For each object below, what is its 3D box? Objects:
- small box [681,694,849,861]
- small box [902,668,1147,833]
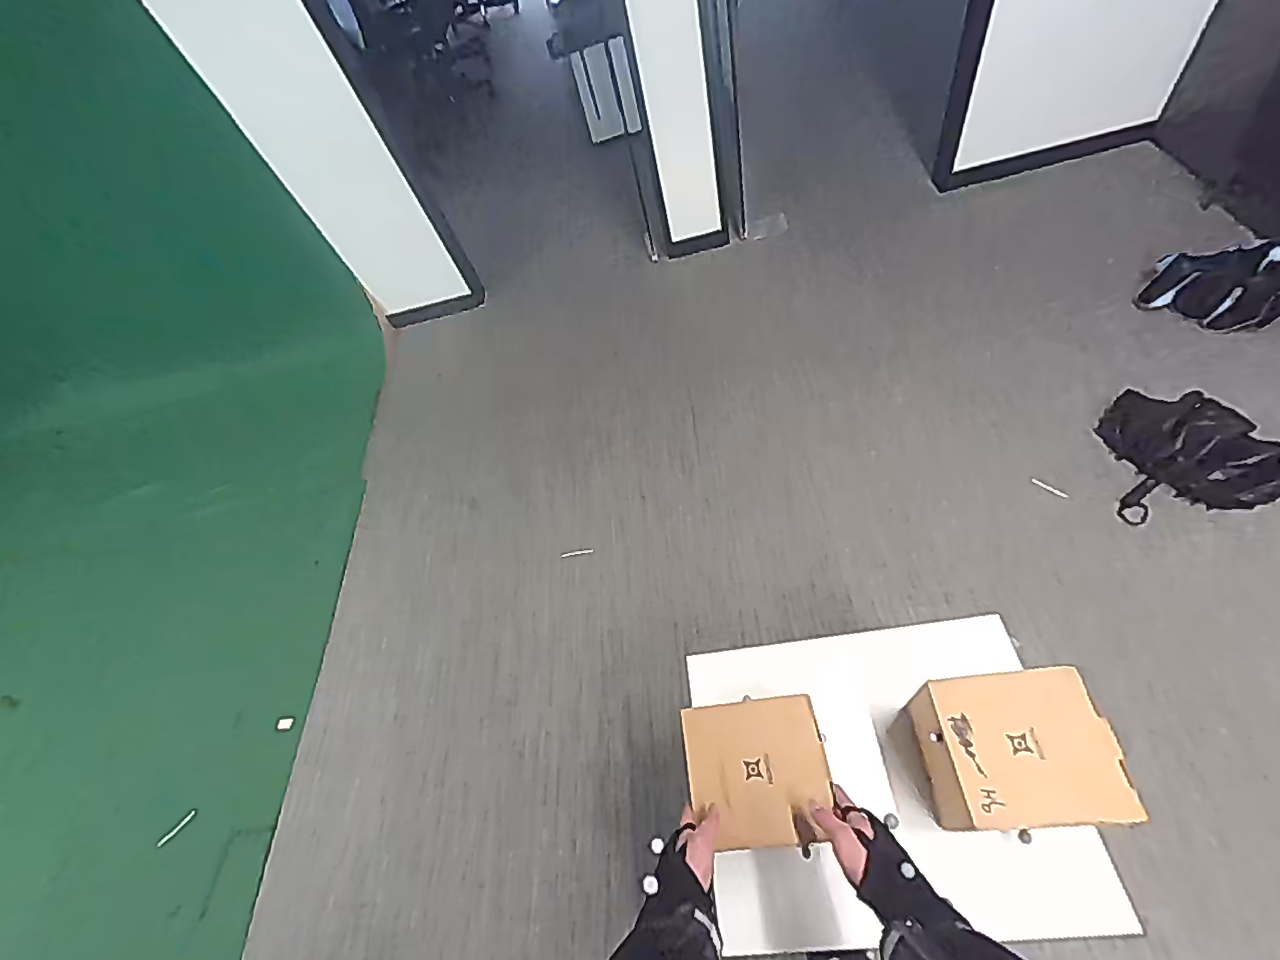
[{"bbox_3d":[0.157,0.402,0.726,0.179,0.176,0.168,-10,53,5],"label":"small box"},{"bbox_3d":[0.467,0.352,0.694,0.179,0.176,0.168,-8,55,6],"label":"small box"}]
